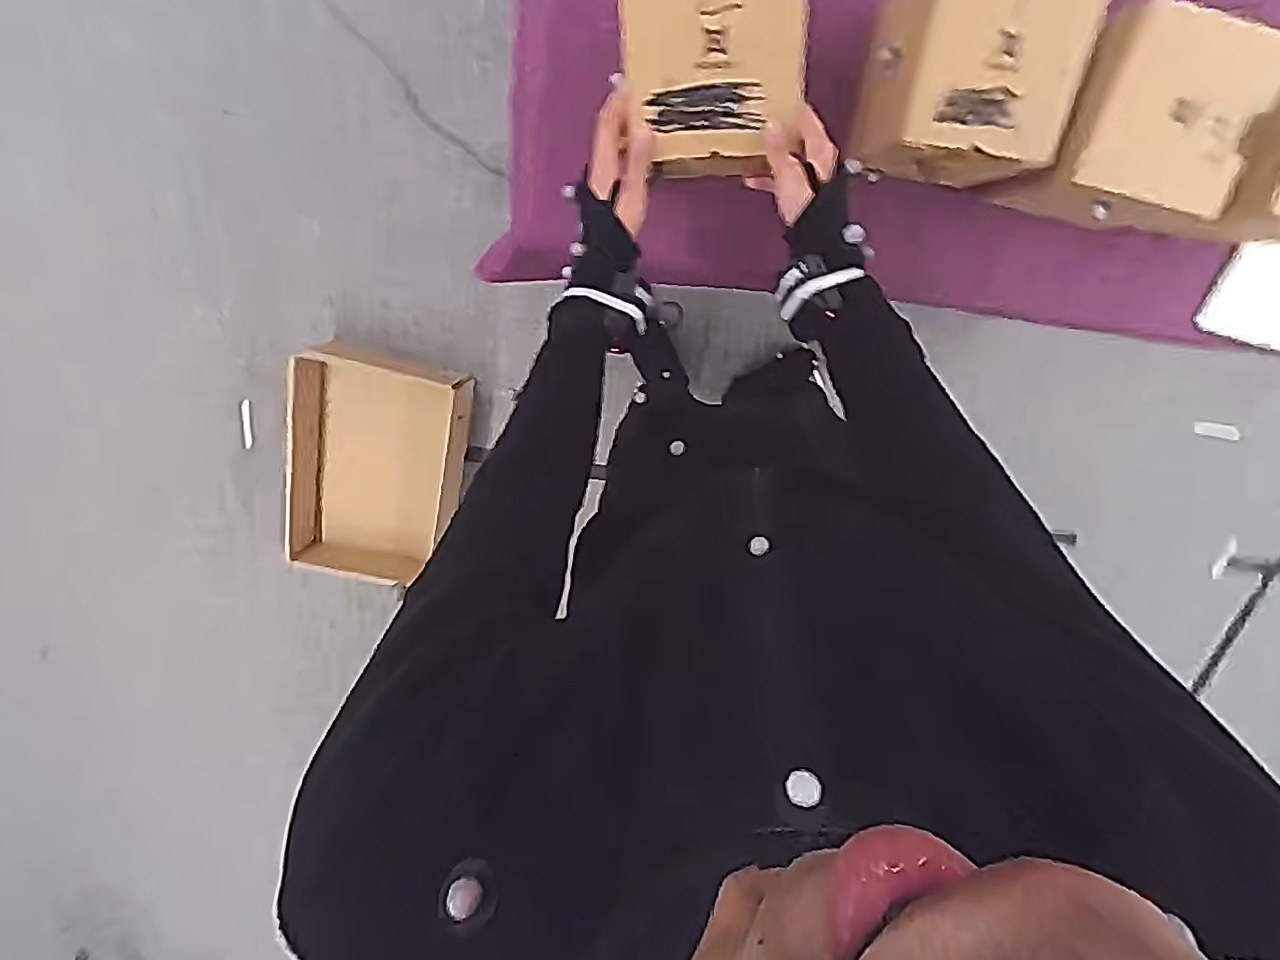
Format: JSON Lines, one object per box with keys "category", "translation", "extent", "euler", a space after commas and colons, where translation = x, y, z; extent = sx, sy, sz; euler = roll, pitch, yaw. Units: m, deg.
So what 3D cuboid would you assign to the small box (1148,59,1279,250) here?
{"category": "small box", "translation": [0.775, -0.380, 0.642], "extent": [0.168, 0.176, 0.179], "euler": [9, 110, -5]}
